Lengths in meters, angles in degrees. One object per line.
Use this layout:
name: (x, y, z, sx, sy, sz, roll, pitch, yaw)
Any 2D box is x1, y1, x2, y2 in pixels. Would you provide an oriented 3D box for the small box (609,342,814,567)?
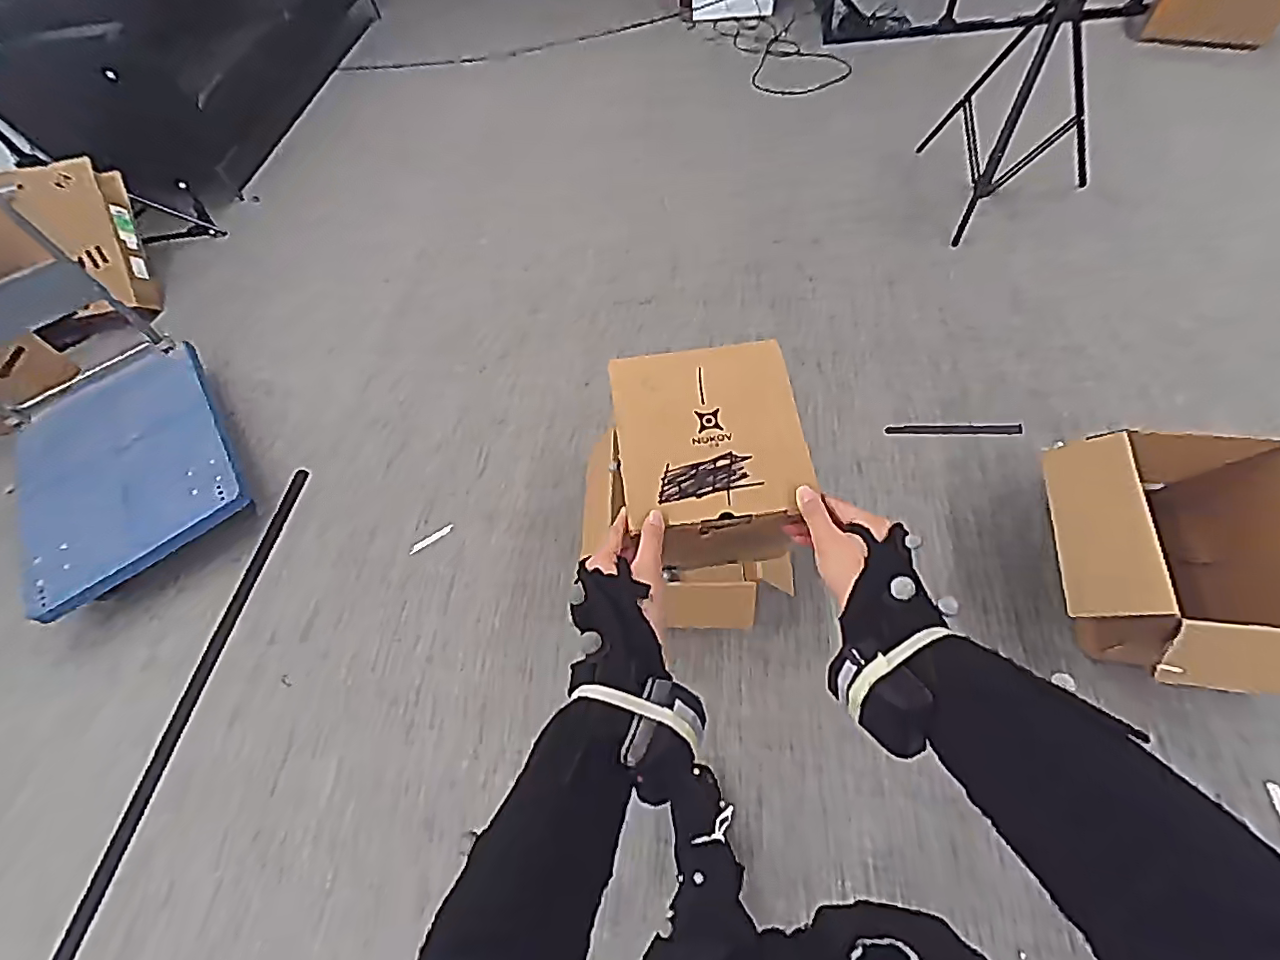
small box: (0.063, -0.014, 0.565, 0.168, 0.176, 0.179, -7, 66, -1)
